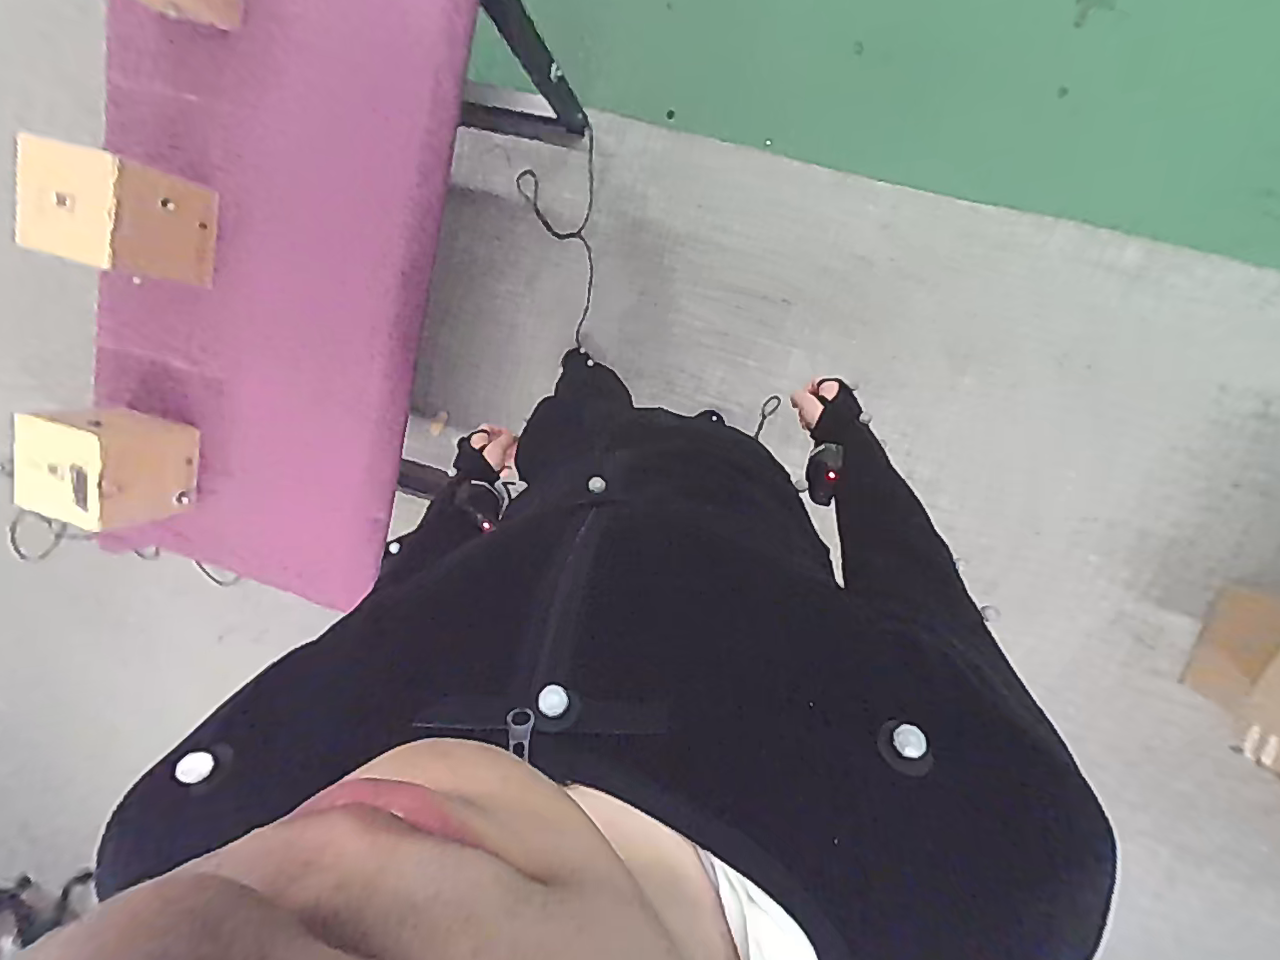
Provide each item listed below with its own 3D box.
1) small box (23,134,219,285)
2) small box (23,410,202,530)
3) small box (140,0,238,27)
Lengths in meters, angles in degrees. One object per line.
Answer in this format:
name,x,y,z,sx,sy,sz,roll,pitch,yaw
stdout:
small box,-0.841,-0.431,0.889,0.179,0.176,0.168,16,102,8
small box,-0.941,-0.028,0.977,0.179,0.176,0.168,15,102,8
small box,-0.723,-0.819,0.796,0.179,0.176,0.168,17,103,7
